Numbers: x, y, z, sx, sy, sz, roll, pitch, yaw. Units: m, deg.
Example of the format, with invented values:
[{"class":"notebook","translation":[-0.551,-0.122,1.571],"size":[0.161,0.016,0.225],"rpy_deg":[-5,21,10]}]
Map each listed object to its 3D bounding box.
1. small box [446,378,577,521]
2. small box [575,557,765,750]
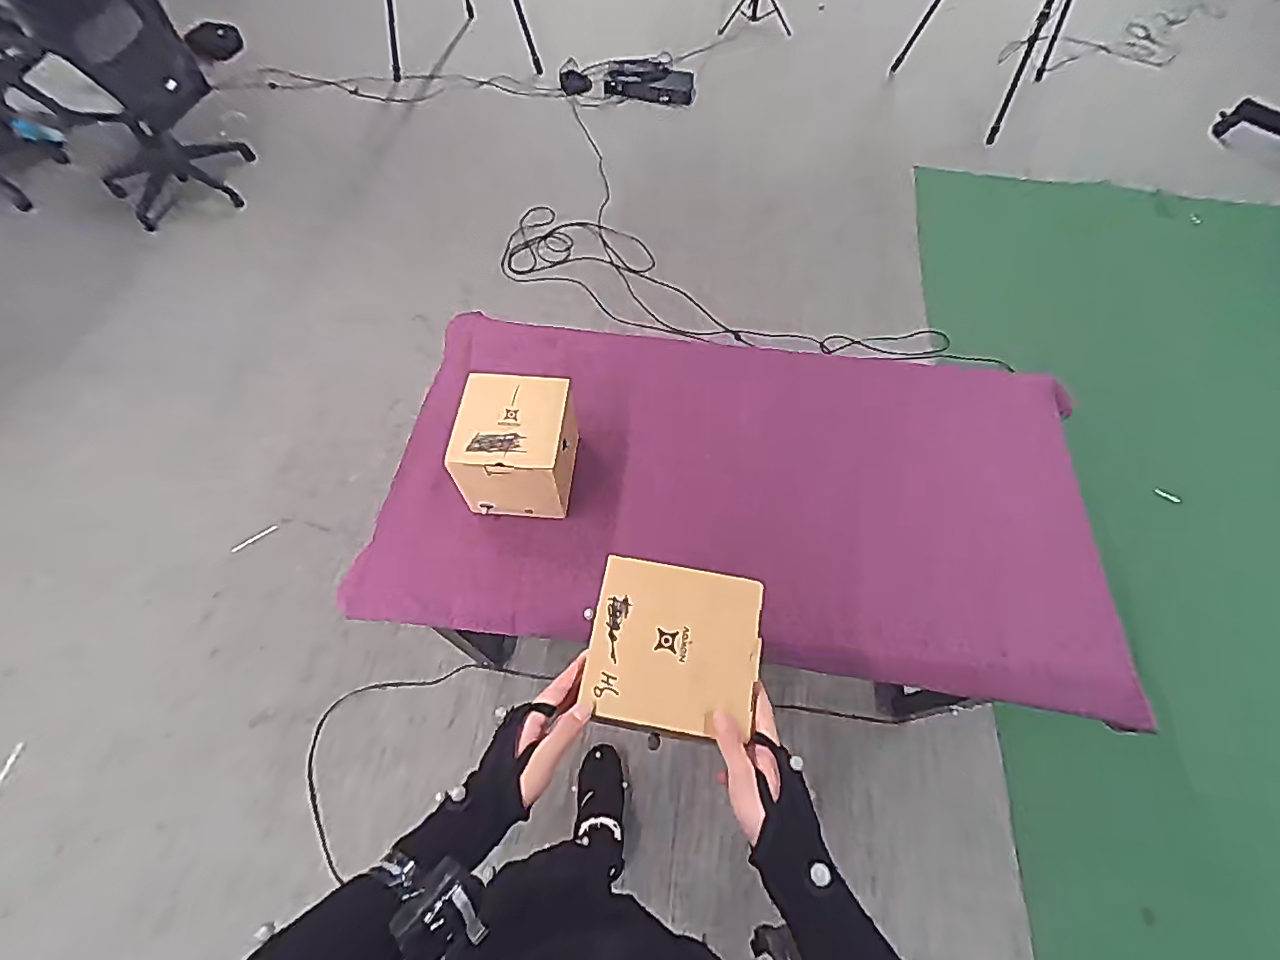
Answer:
[{"class":"small box","translation":[-0.200,-0.045,0.903],"size":[0.168,0.176,0.179],"rpy_deg":[4,59,1]},{"class":"small box","translation":[0.033,0.207,0.631],"size":[0.179,0.176,0.168],"rpy_deg":[11,62,4]}]
